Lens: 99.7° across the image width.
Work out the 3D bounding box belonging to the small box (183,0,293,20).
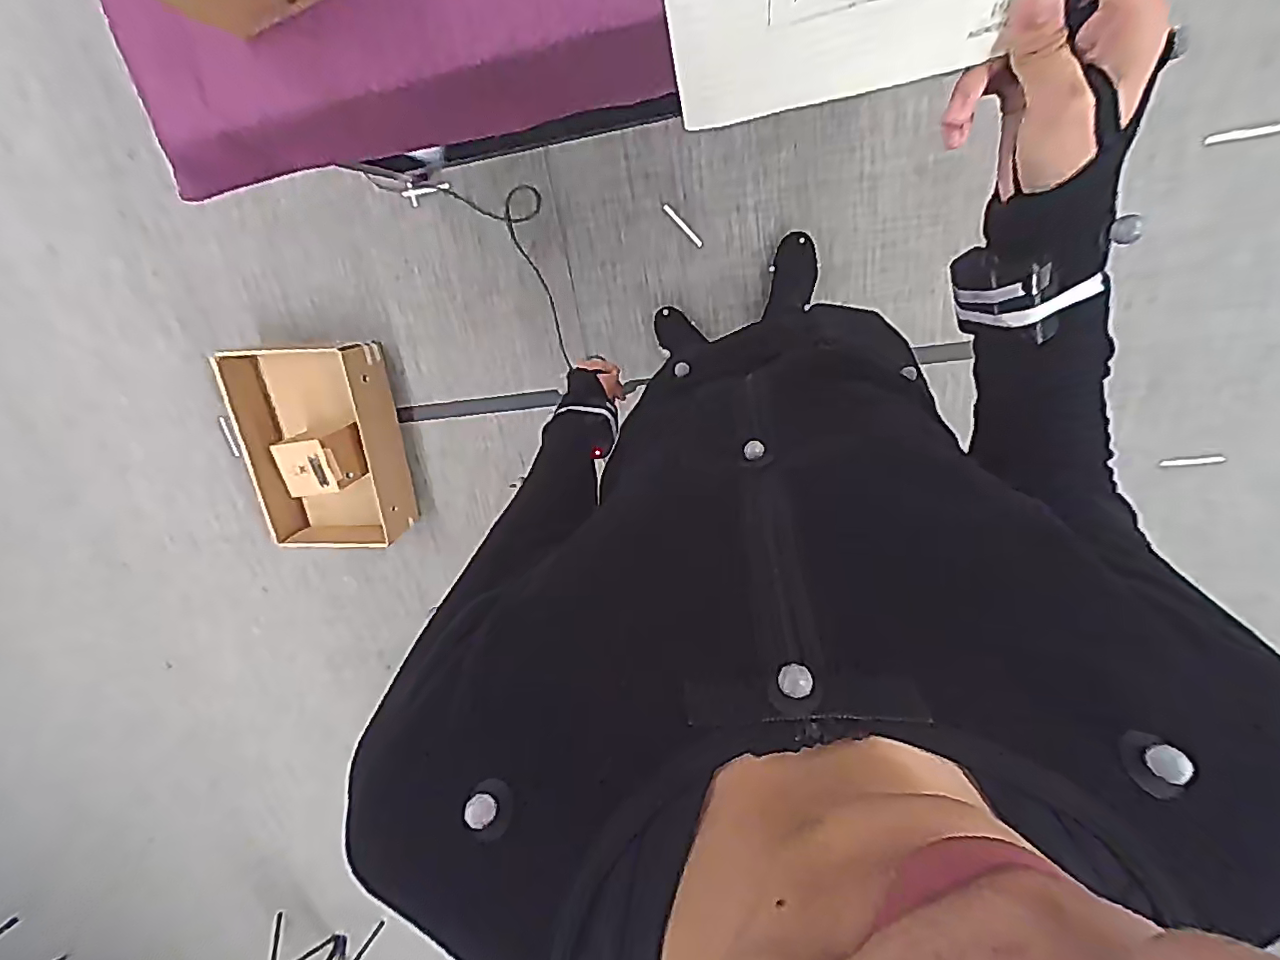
[{"bbox_3d":[-0.490,-0.664,0.607,0.168,0.176,0.179,-14,110,12],"label":"small box"}]
